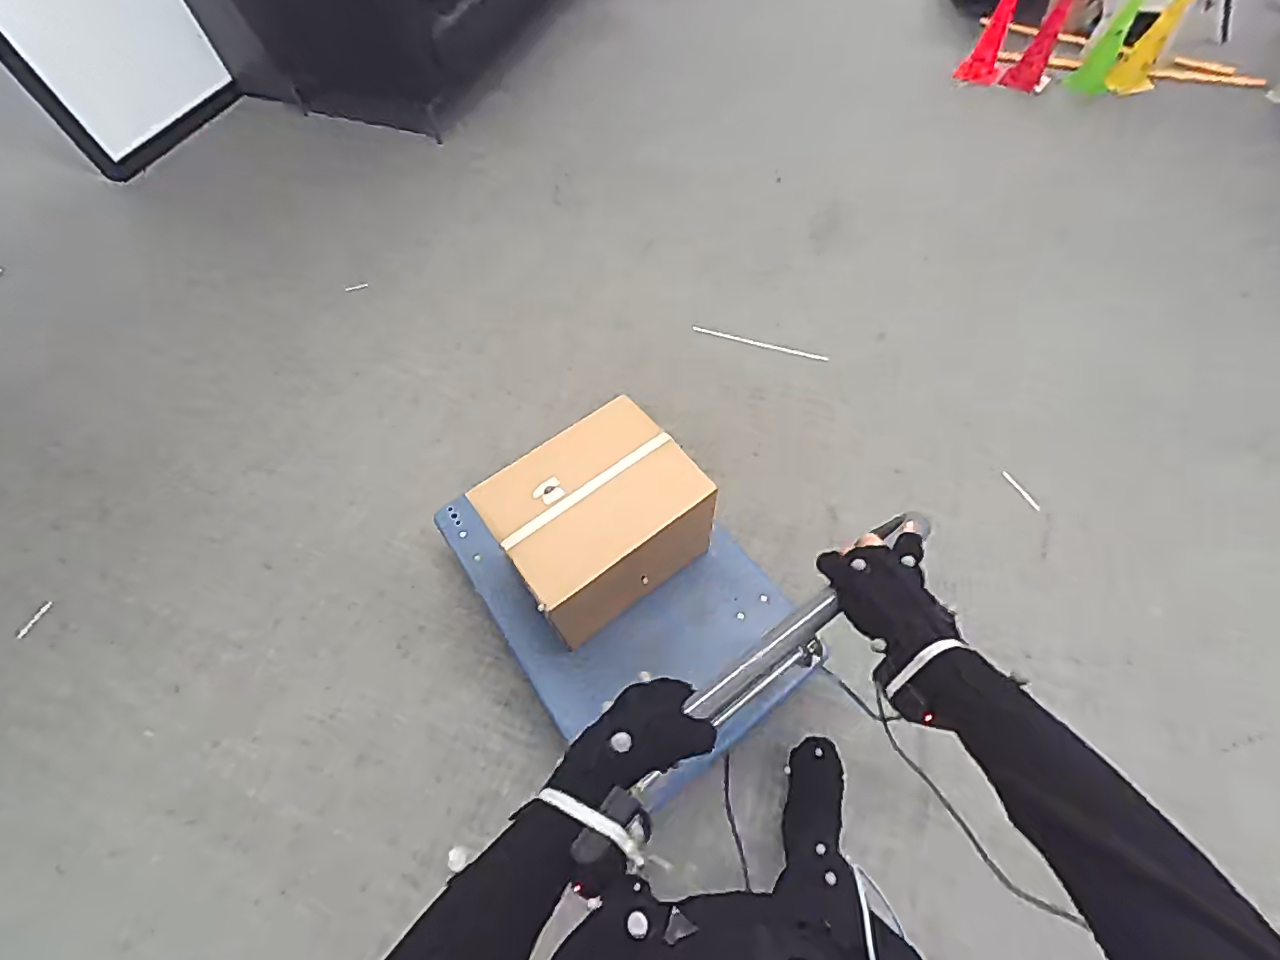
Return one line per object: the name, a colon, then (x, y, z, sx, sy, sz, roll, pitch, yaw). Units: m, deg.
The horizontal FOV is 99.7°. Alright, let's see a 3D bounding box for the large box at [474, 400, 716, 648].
large box: (-0.083, 0.103, 1.213, 0.408, 0.320, 0.320, -36, 64, -15)
